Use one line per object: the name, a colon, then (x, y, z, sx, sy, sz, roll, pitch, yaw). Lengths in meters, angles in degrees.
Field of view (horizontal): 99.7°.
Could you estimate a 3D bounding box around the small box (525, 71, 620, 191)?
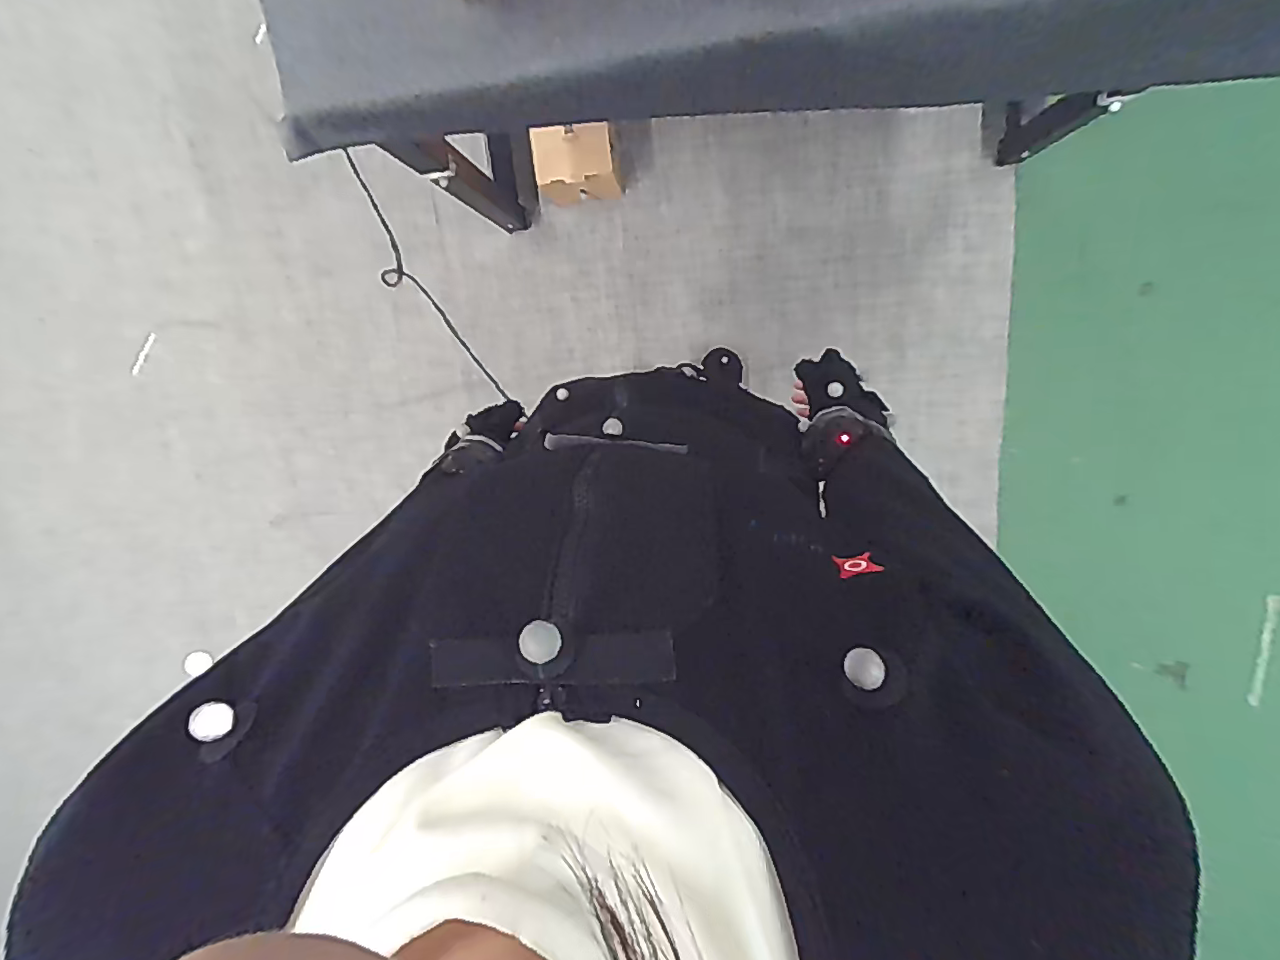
small box: (-0.140, -0.753, 1.190, 0.168, 0.176, 0.179, -4, 104, 6)
